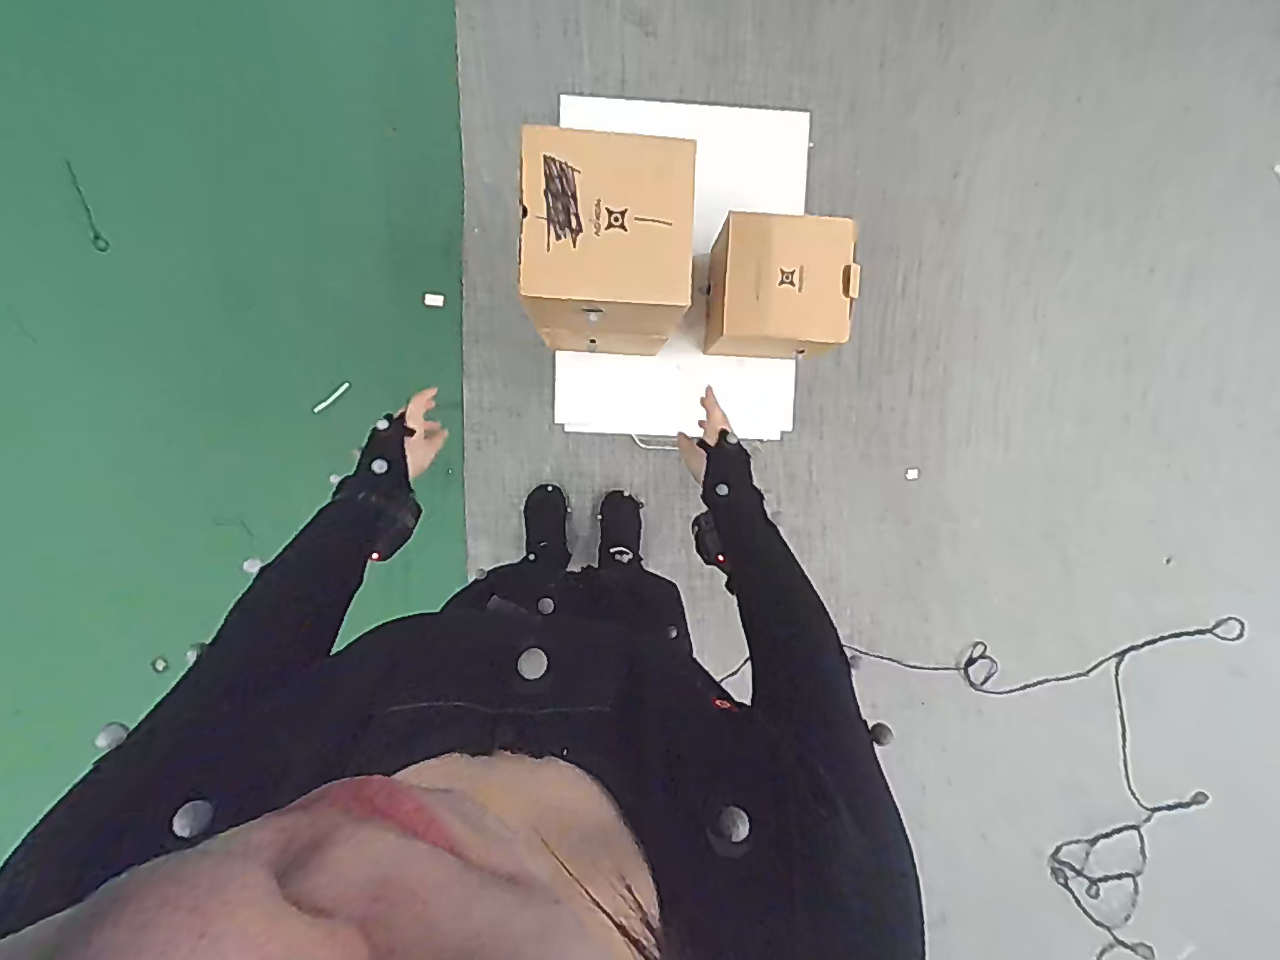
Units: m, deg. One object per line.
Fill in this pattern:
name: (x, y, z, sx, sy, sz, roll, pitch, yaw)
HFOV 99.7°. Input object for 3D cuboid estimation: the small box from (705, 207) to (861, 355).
small box: (0.199, -0.280, 0.798, 0.179, 0.176, 0.168, 3, 95, -2)

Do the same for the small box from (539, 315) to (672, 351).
small box: (-0.046, -0.282, 0.780, 0.179, 0.176, 0.168, 2, 96, -4)

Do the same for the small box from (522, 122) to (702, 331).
small box: (-0.035, -0.270, 0.616, 0.179, 0.176, 0.168, 1, 95, -6)
